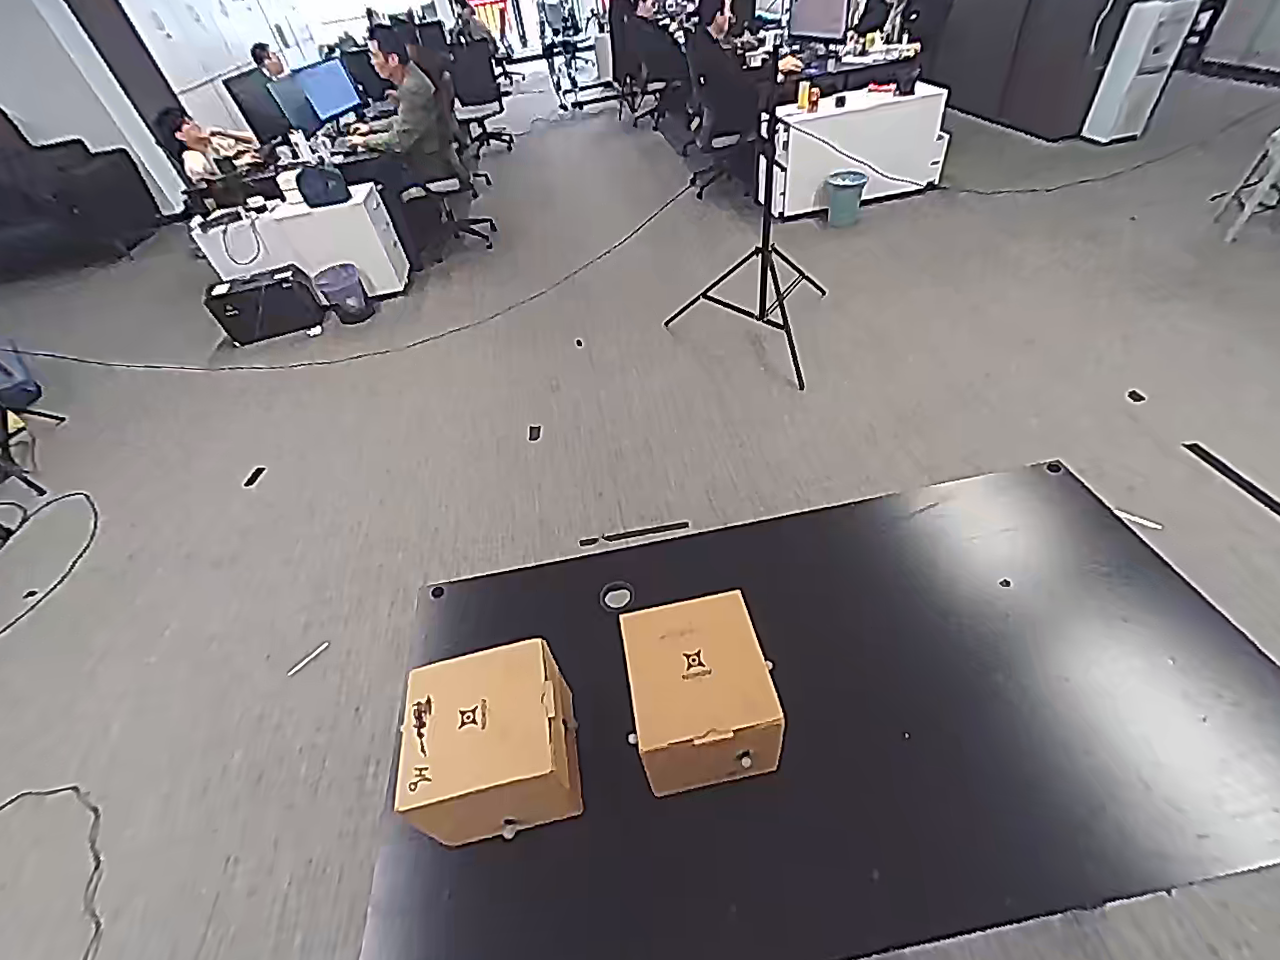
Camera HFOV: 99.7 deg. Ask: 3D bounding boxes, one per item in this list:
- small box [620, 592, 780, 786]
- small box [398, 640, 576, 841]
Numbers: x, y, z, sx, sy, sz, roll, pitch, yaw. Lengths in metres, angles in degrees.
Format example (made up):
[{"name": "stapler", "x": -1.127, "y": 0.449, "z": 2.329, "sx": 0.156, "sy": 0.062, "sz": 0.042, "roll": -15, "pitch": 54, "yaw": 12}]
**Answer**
[{"name": "small box", "x": 0.074, "y": 0.279, "z": 0.710, "sx": 0.168, "sy": 0.176, "sz": 0.179, "roll": -11, "pitch": 44, "yaw": -3}, {"name": "small box", "x": -0.181, "y": 0.334, "z": 0.693, "sx": 0.179, "sy": 0.176, "sz": 0.168, "roll": -12, "pitch": 44, "yaw": -4}]
